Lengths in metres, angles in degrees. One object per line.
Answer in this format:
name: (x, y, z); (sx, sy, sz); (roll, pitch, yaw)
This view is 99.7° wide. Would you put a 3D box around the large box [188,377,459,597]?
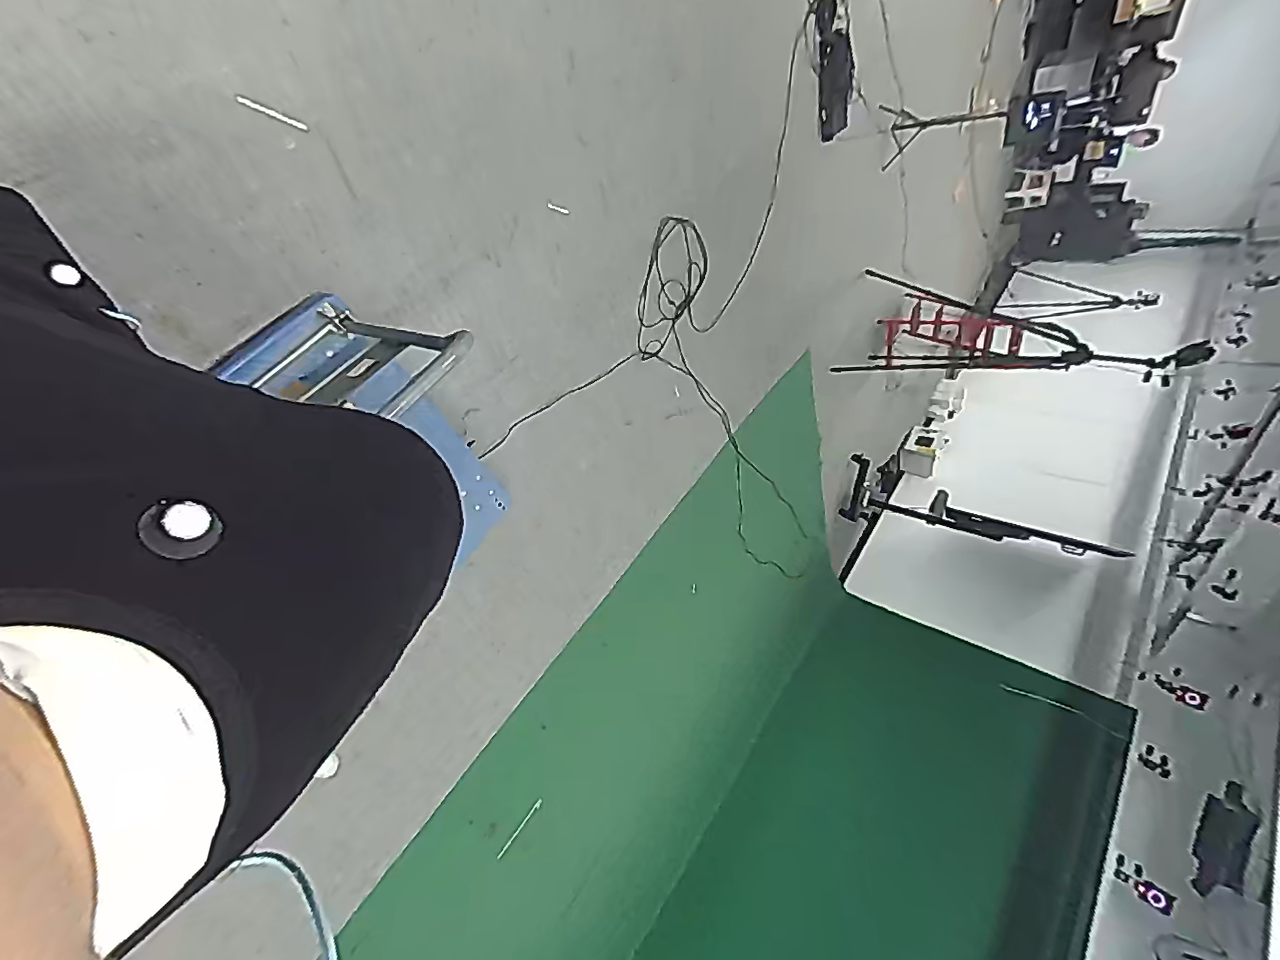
large box: (-0.737, 0.015, 1.298); (0.320, 0.320, 0.408); (-54, 141, -21)
